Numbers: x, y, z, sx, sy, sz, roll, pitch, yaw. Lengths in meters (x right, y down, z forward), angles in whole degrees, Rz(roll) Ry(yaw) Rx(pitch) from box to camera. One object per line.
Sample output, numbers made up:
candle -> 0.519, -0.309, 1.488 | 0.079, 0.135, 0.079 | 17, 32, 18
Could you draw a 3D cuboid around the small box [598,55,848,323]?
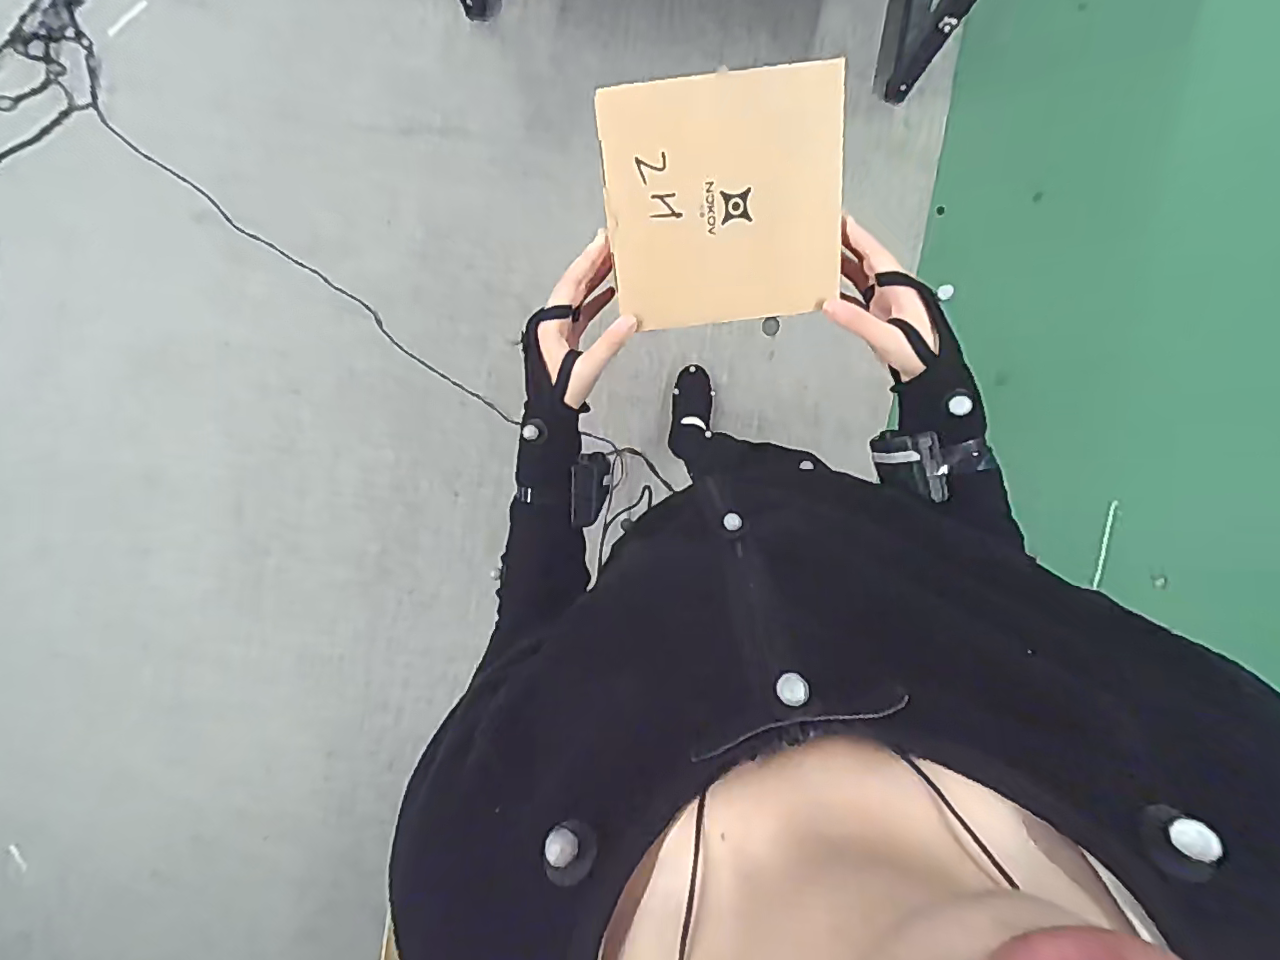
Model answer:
small box -> 0.062, -0.235, 0.472 | 0.179, 0.176, 0.168 | -6, 110, 2
